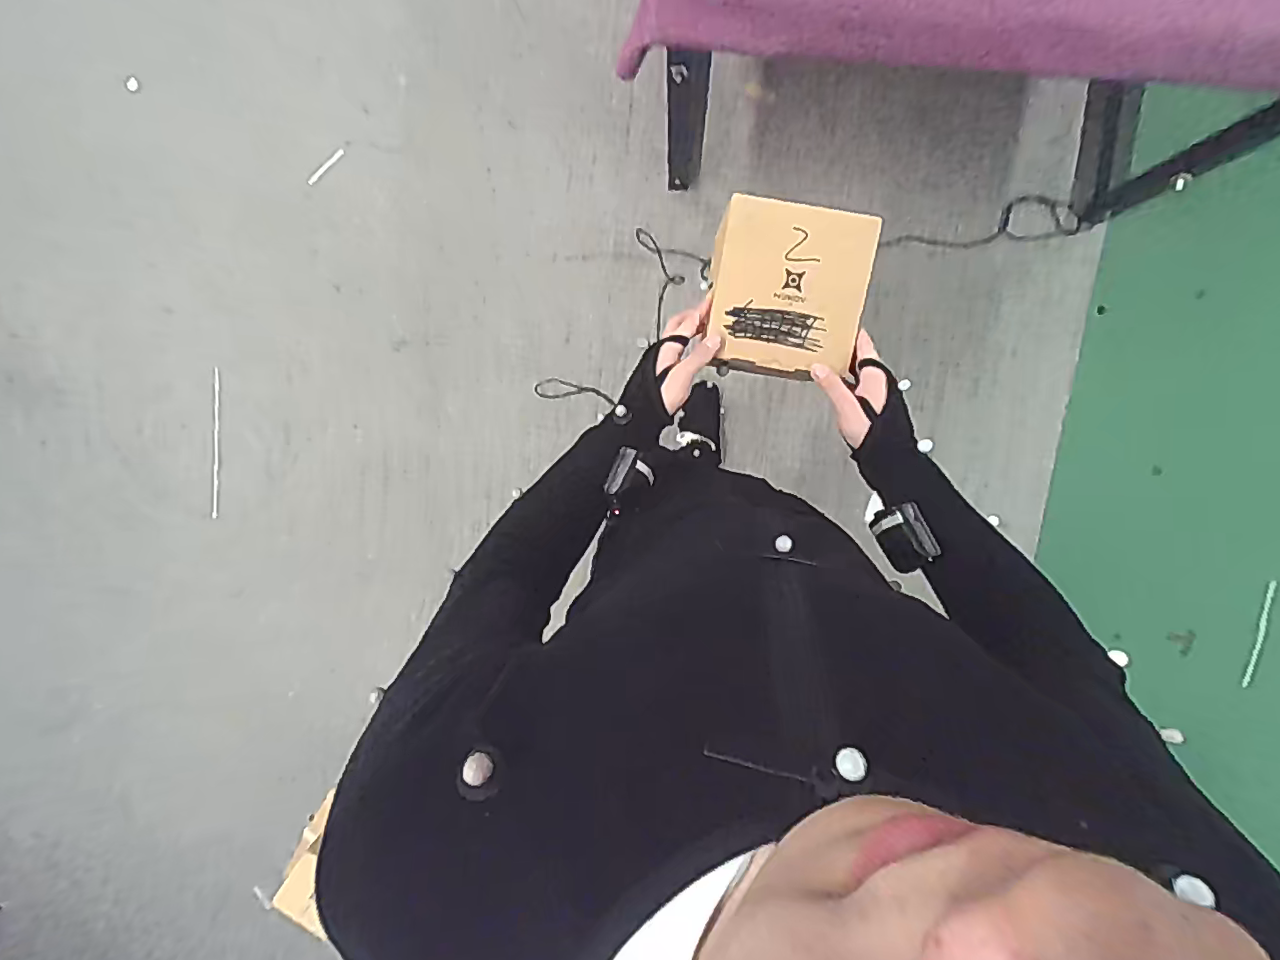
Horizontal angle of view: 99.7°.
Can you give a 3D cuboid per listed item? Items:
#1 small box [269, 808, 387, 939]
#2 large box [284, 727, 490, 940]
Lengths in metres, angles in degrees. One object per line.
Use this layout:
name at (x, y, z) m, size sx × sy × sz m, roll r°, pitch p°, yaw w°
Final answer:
small box at (-0.781, 0.989, 1.377) m, size 0.168 × 0.176 × 0.179 m, roll 35°, pitch 96°, yaw -1°
large box at (-0.735, 1.037, 1.627) m, size 0.408 × 0.320 × 0.320 m, roll 31°, pitch 97°, yaw -1°
